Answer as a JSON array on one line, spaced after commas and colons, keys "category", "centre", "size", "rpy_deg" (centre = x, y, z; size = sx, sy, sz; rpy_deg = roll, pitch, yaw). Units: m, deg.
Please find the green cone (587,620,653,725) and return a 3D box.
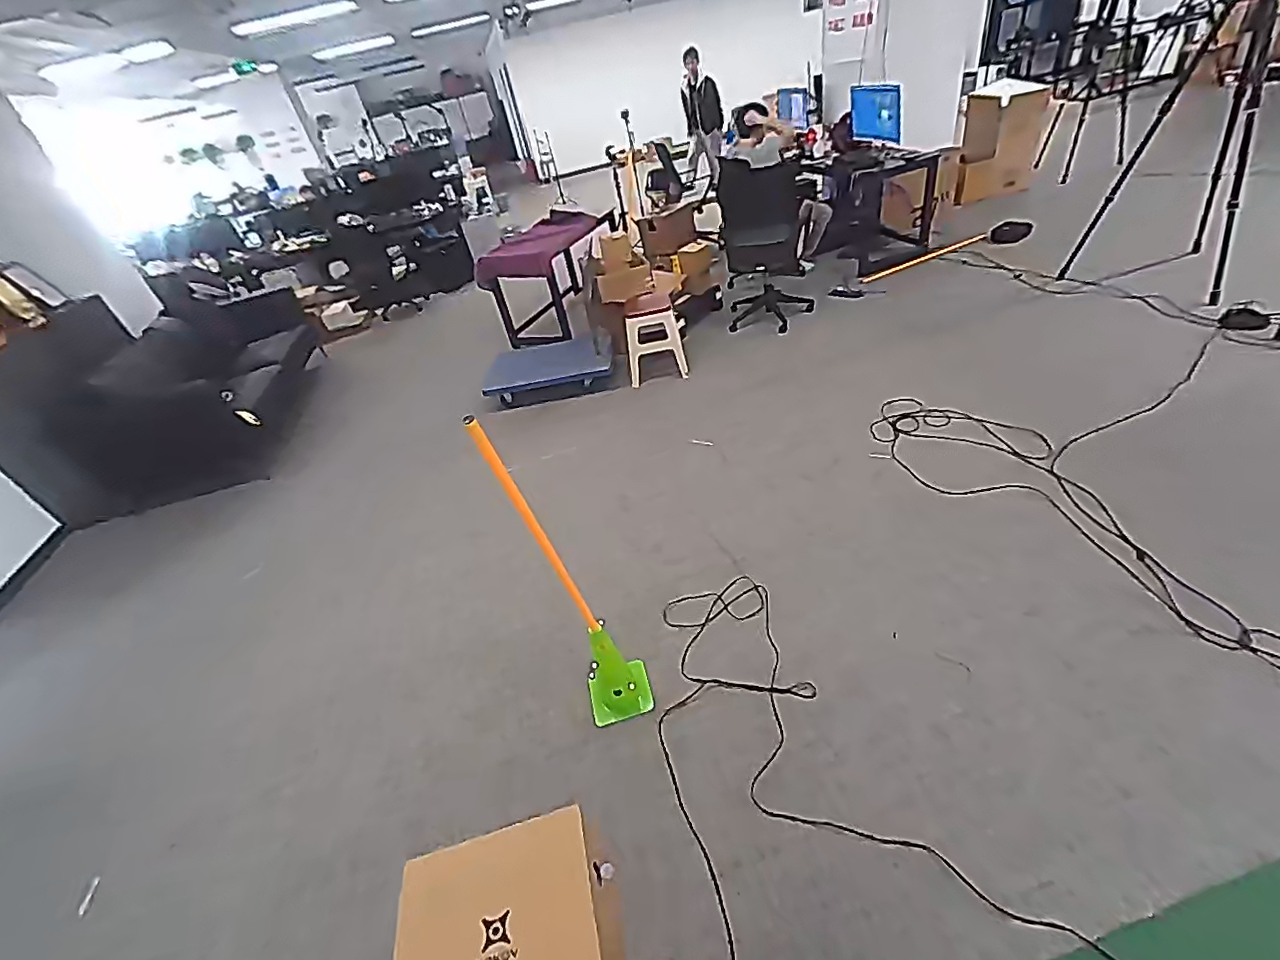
[{"category": "green cone", "centre": [-0.101, 0.572, 1.701], "size": [0.202, 0.368, 0.200], "rpy_deg": [-16, 37, -5]}]
